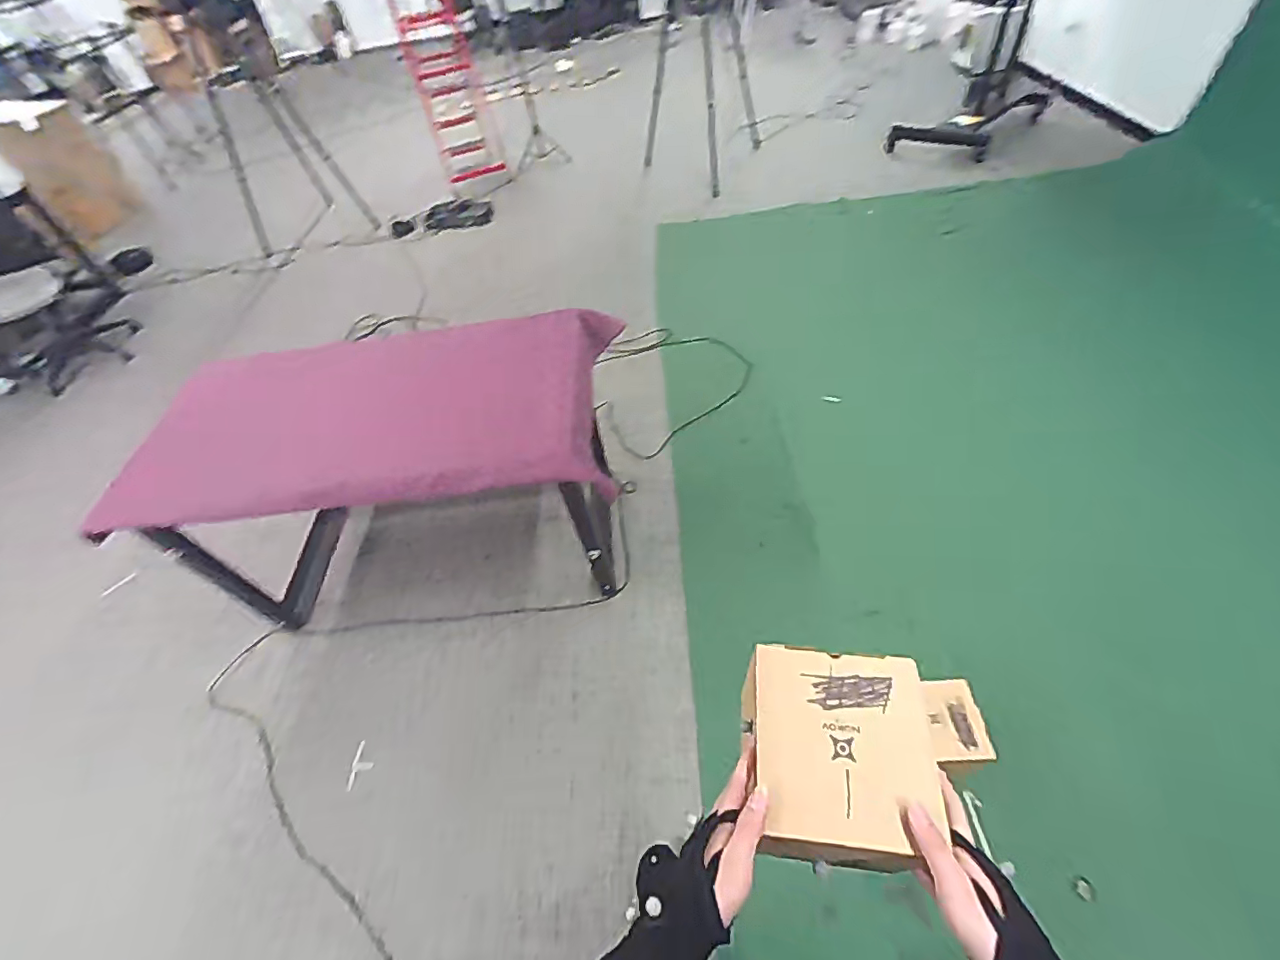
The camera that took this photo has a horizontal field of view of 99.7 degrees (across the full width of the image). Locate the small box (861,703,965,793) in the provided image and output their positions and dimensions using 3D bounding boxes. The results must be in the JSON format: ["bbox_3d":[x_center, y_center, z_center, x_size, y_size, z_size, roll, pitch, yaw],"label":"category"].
[{"bbox_3d":[0.666,0.673,1.349,0.179,0.176,0.168,-5,49,4],"label":"small box"}]
